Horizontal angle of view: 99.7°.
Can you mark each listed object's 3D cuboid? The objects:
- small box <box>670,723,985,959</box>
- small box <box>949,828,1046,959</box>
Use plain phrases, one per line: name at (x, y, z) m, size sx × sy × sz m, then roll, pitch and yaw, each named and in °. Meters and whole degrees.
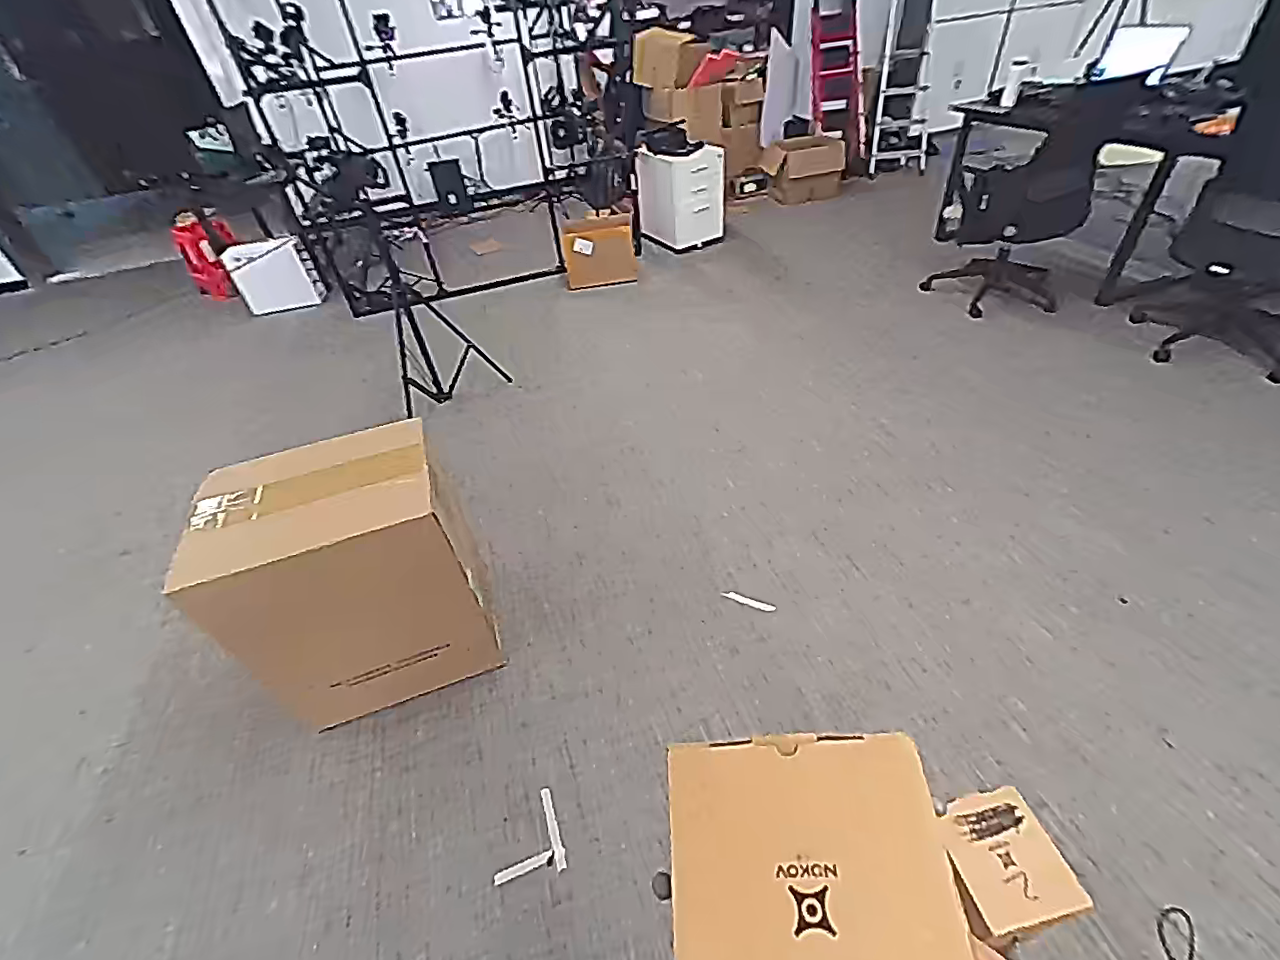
small box at (0.116, 0.284, 0.373) m, size 0.168 × 0.176 × 0.179 m, roll -7°, pitch 50°, yaw 8°
small box at (0.586, 0.781, 1.002) m, size 0.179 × 0.176 × 0.168 m, roll -12°, pitch 40°, yaw -4°
